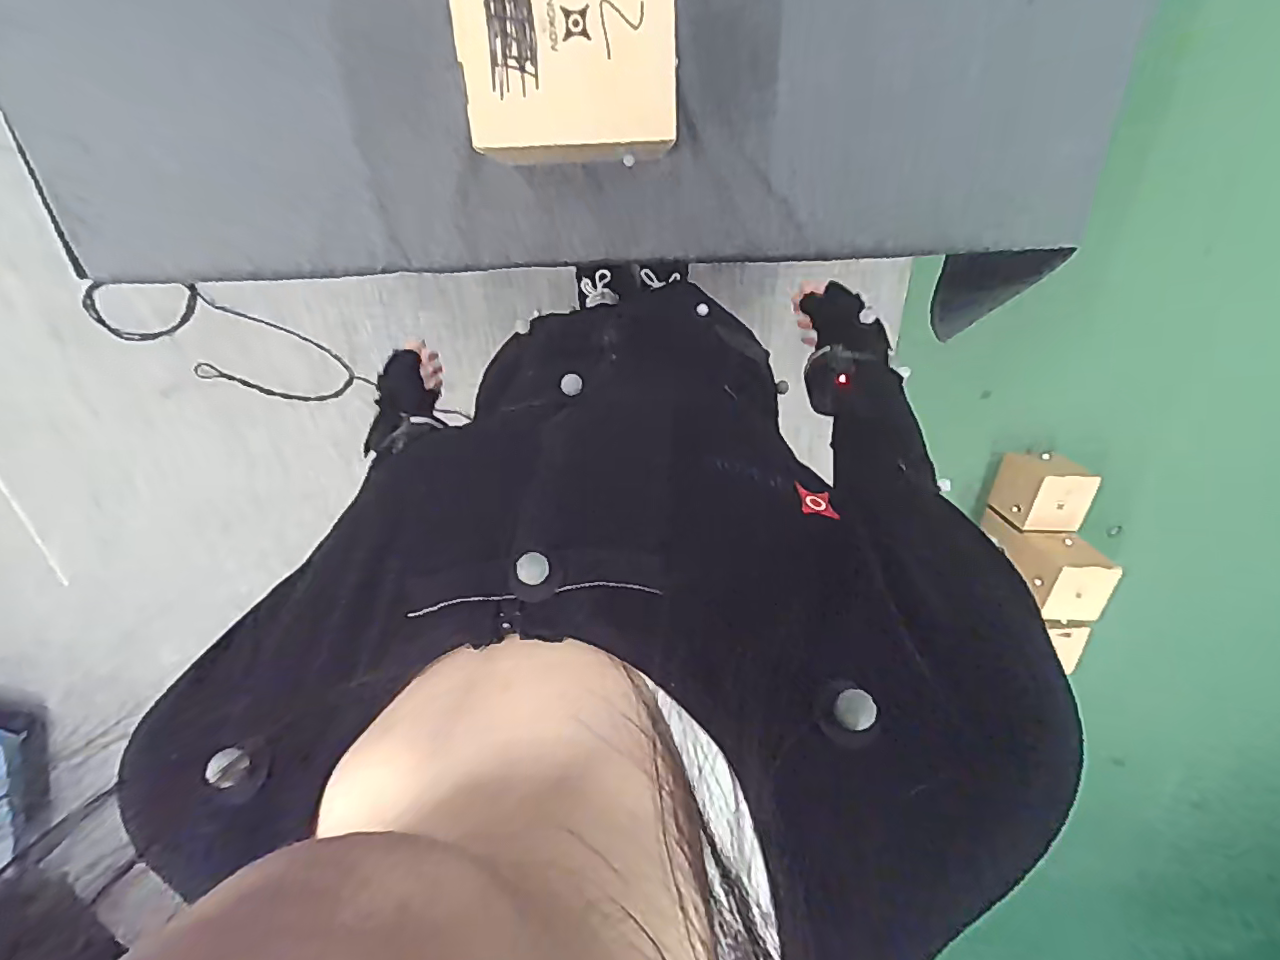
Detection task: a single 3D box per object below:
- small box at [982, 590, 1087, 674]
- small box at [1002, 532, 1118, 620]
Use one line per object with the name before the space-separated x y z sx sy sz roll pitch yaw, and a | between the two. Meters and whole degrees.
small box | 1.155 0.448 1.603 0.168 0.176 0.179 -2 118 -2
small box | 1.161 0.267 1.514 0.168 0.176 0.179 3 115 -3
